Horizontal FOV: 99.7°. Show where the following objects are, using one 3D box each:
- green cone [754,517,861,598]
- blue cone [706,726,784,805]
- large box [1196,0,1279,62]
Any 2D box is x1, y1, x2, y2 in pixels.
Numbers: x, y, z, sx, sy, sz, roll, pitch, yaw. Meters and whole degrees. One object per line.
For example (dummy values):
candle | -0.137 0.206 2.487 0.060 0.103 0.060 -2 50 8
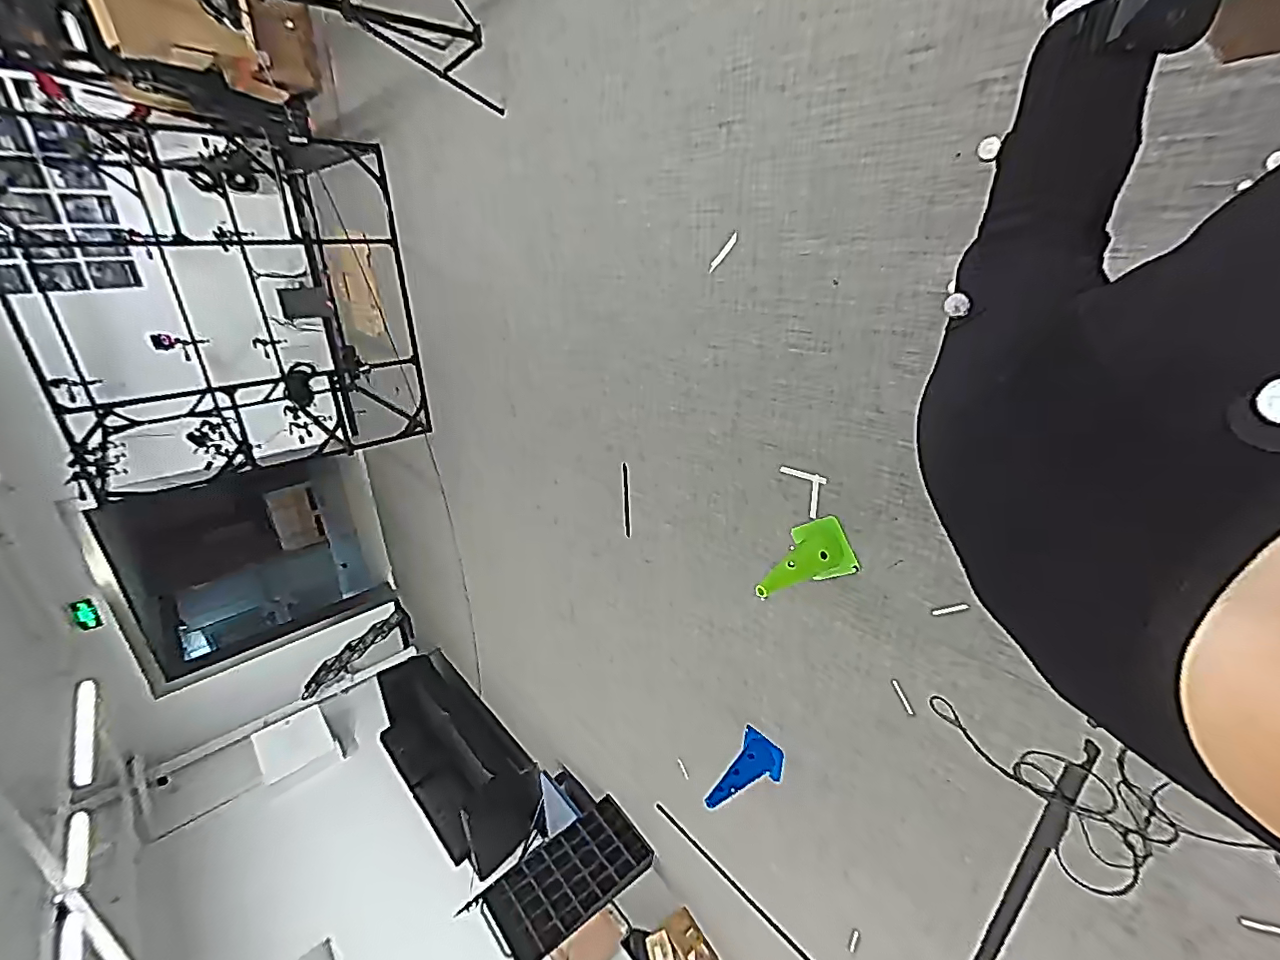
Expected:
green cone | 0.497 0.280 1.721 0.202 0.368 0.200 -33 80 54
blue cone | 0.429 1.253 2.295 0.192 0.380 0.193 28 127 42
large box | 0.558 -0.448 0.230 0.408 0.320 0.320 17 122 44
